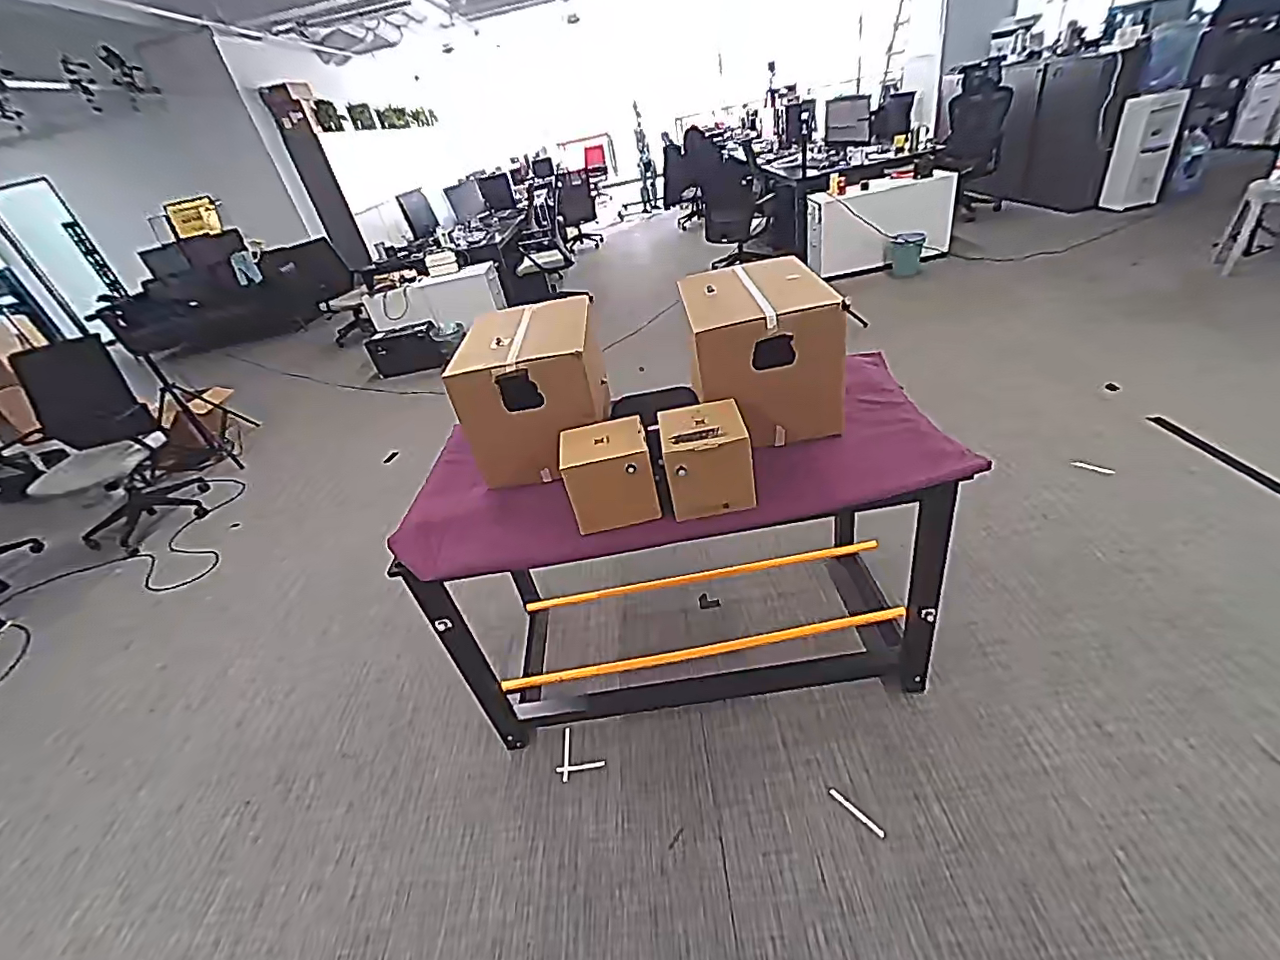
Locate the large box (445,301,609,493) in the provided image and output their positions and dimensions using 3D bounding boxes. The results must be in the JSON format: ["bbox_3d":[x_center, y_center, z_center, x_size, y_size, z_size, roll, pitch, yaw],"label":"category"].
[{"bbox_3d":[-0.260,-0.224,1.395,0.320,0.320,0.408,-11,36,4],"label":"large box"}]
